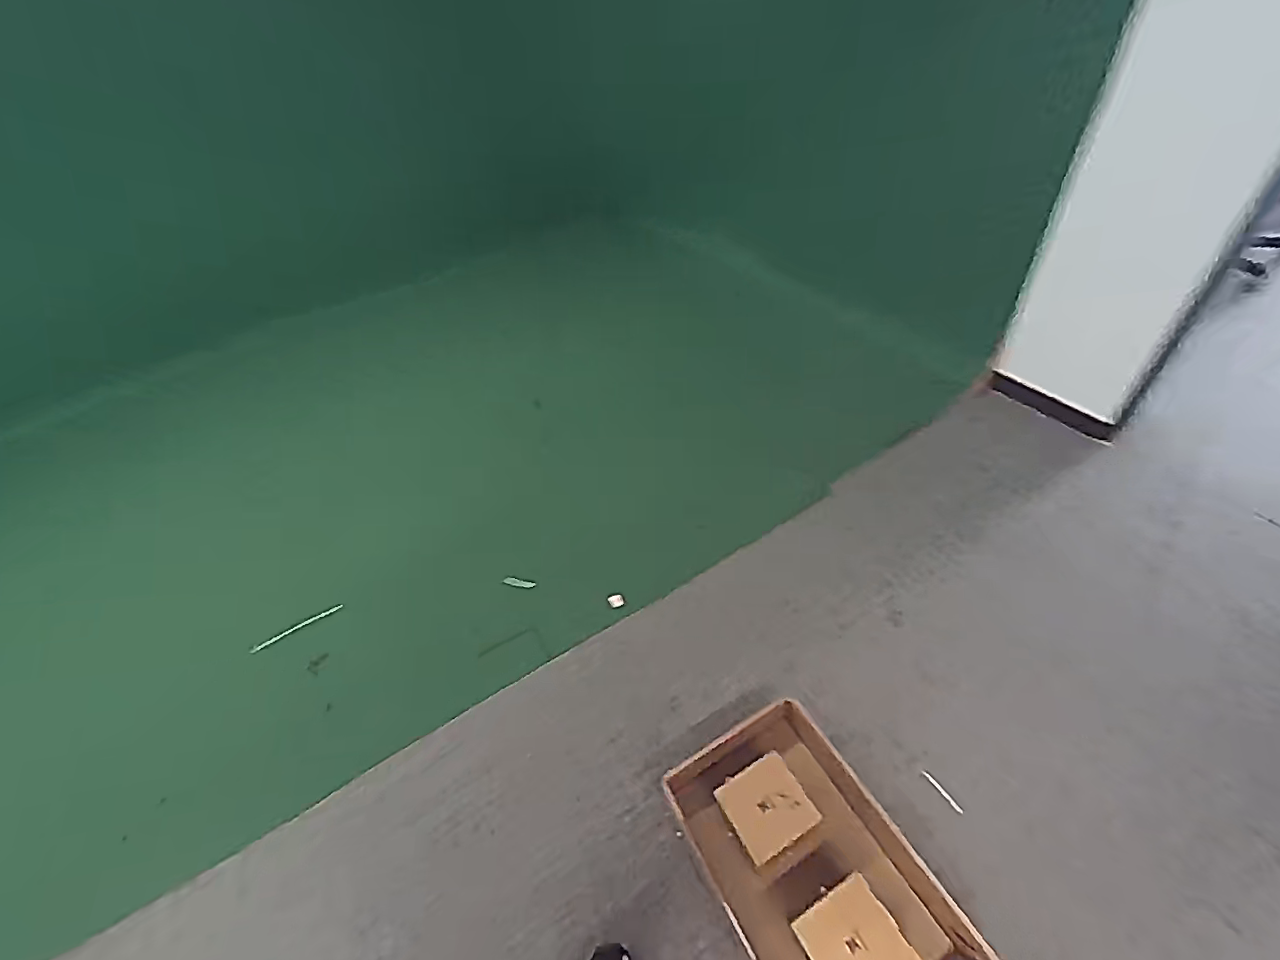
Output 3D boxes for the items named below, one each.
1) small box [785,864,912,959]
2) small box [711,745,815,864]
[{"bbox_3d":[0.415,0.934,1.105,0.179,0.176,0.168,-27,49,-14],"label":"small box"},{"bbox_3d":[0.286,0.769,1.274,0.179,0.176,0.168,-26,50,-13],"label":"small box"}]
